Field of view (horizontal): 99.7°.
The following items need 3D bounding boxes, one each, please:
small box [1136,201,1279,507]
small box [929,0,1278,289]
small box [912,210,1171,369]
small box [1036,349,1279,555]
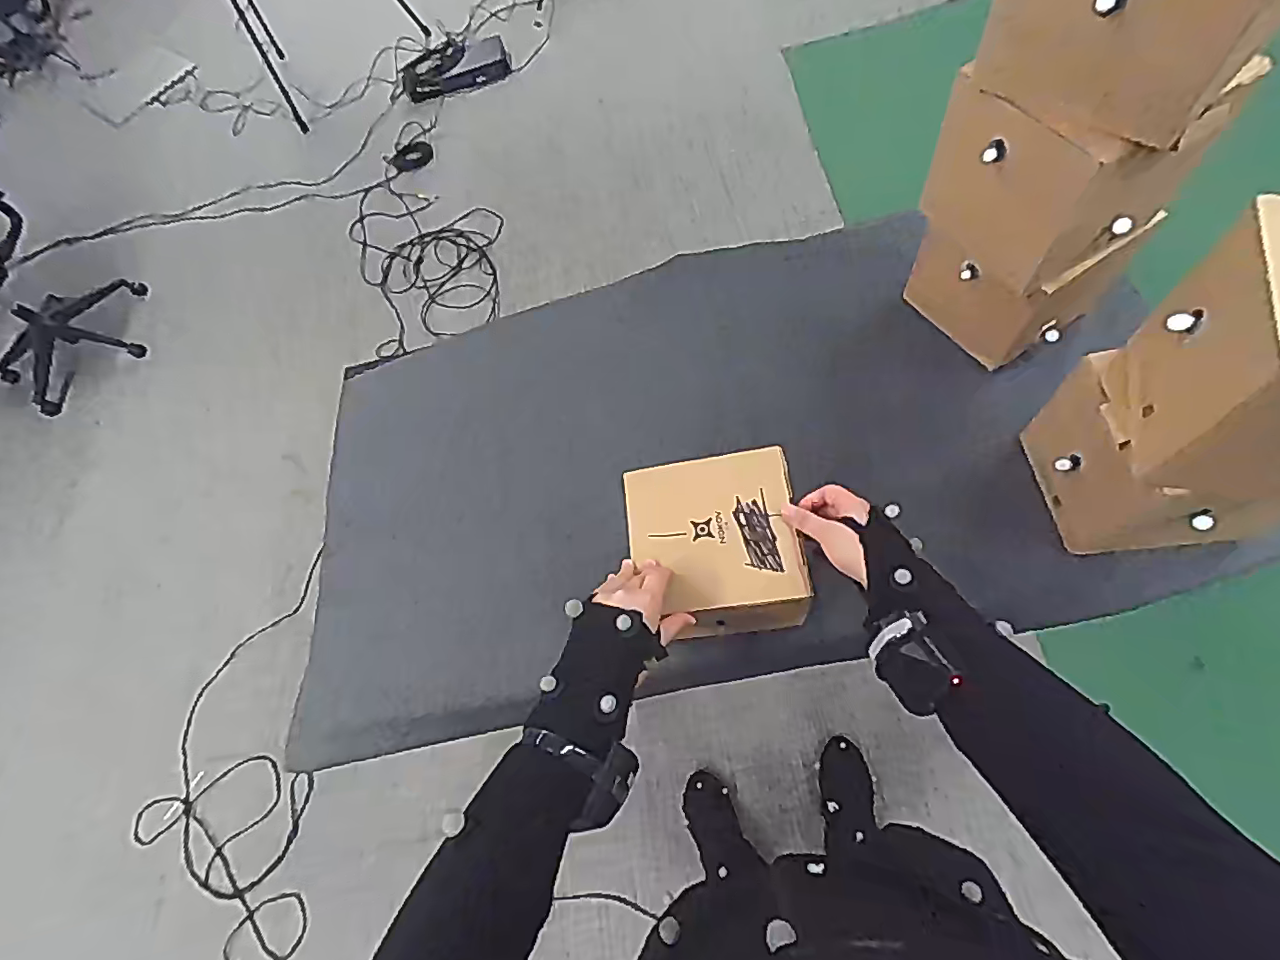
[{"bbox_3d":[0.531,-0.085,0.419,0.179,0.176,0.168,13,67,18],"label":"small box"},{"bbox_3d":[0.433,-0.335,0.551,0.168,0.176,0.179,-31,64,2],"label":"small box"},{"bbox_3d":[0.489,-0.279,0.698,0.168,0.176,0.179,-34,66,0],"label":"small box"},{"bbox_3d":[0.559,-0.028,0.570,0.179,0.176,0.168,-8,63,10],"label":"small box"}]
